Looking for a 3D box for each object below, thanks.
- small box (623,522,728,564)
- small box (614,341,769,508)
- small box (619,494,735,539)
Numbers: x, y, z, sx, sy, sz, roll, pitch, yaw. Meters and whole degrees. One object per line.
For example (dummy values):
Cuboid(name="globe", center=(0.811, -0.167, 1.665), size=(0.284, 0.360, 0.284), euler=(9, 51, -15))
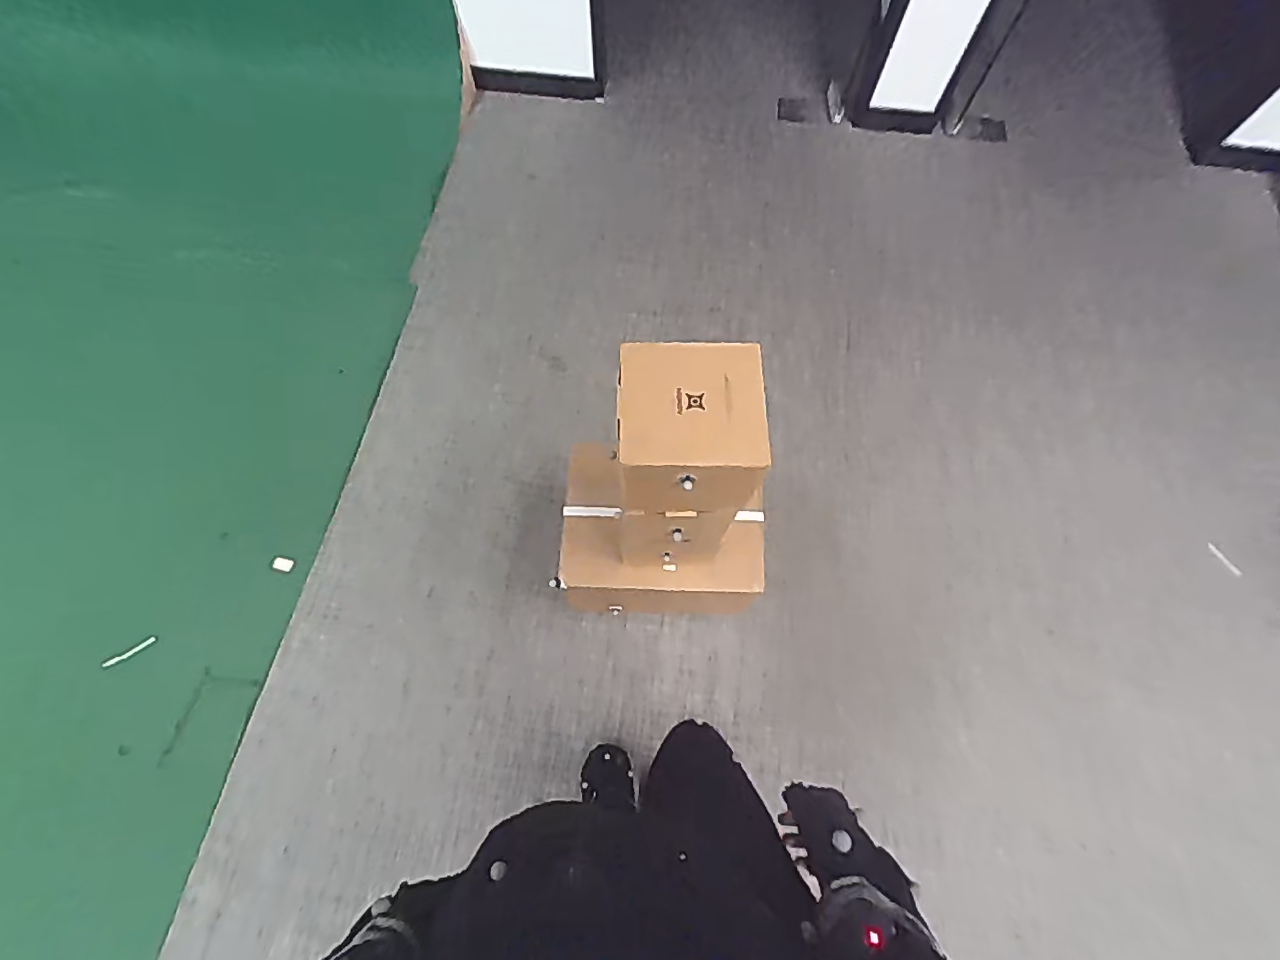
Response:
Cuboid(name="small box", center=(0.056, 0.058, 1.007), size=(0.179, 0.176, 0.168), euler=(-3, 69, -2))
Cuboid(name="small box", center=(0.058, -0.064, 0.705), size=(0.179, 0.176, 0.168), euler=(0, 70, -1))
Cuboid(name="small box", center=(0.052, -0.006, 0.858), size=(0.168, 0.176, 0.179), euler=(-1, 69, -1))
